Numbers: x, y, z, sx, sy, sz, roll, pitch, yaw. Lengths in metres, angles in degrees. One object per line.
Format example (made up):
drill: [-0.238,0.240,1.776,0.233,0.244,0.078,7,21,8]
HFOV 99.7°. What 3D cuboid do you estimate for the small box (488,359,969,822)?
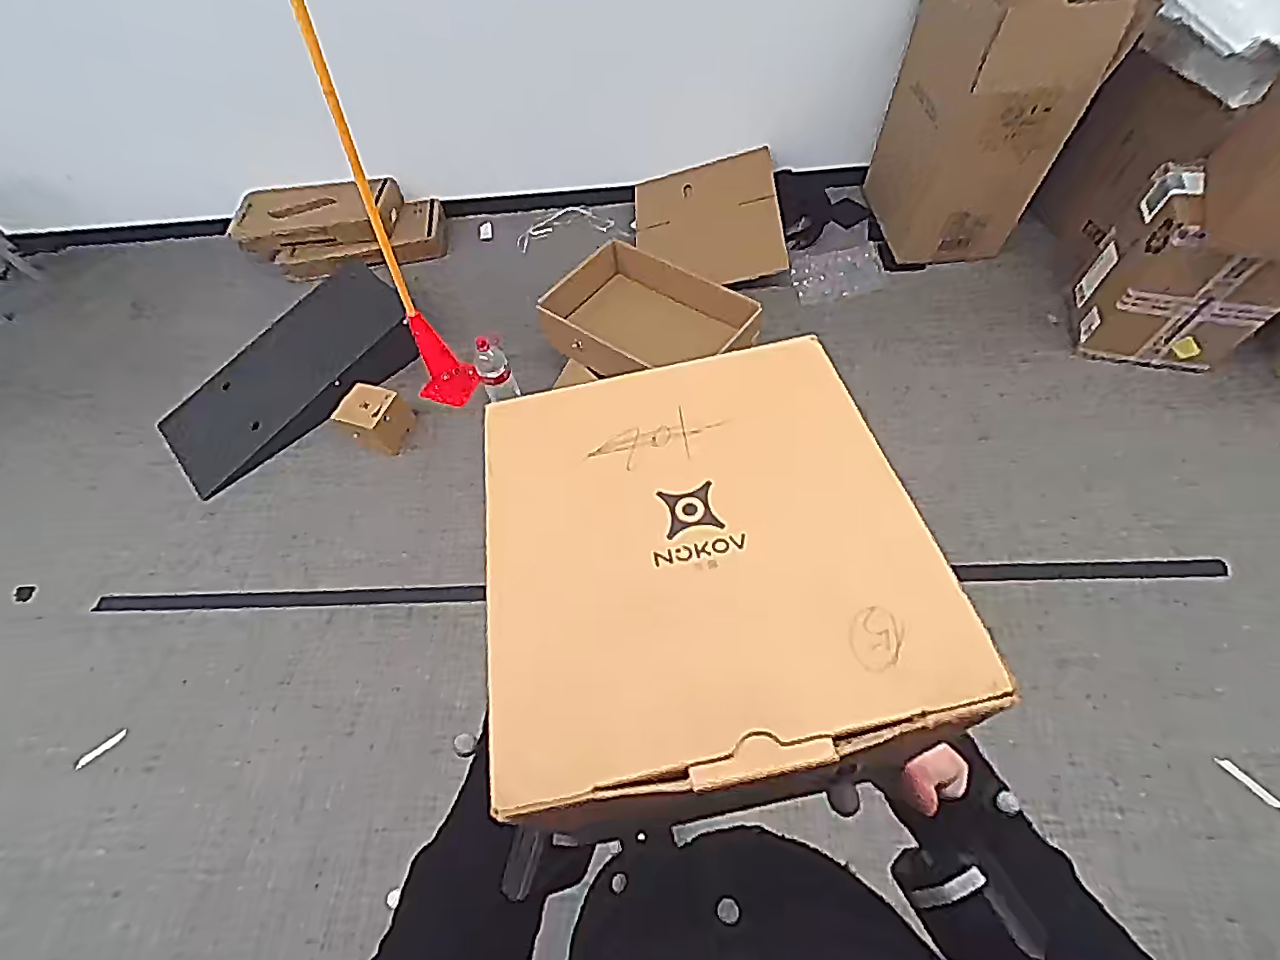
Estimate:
small box: [0.026,0.068,0.290,0.168,0.176,0.179,-12,53,-2]
